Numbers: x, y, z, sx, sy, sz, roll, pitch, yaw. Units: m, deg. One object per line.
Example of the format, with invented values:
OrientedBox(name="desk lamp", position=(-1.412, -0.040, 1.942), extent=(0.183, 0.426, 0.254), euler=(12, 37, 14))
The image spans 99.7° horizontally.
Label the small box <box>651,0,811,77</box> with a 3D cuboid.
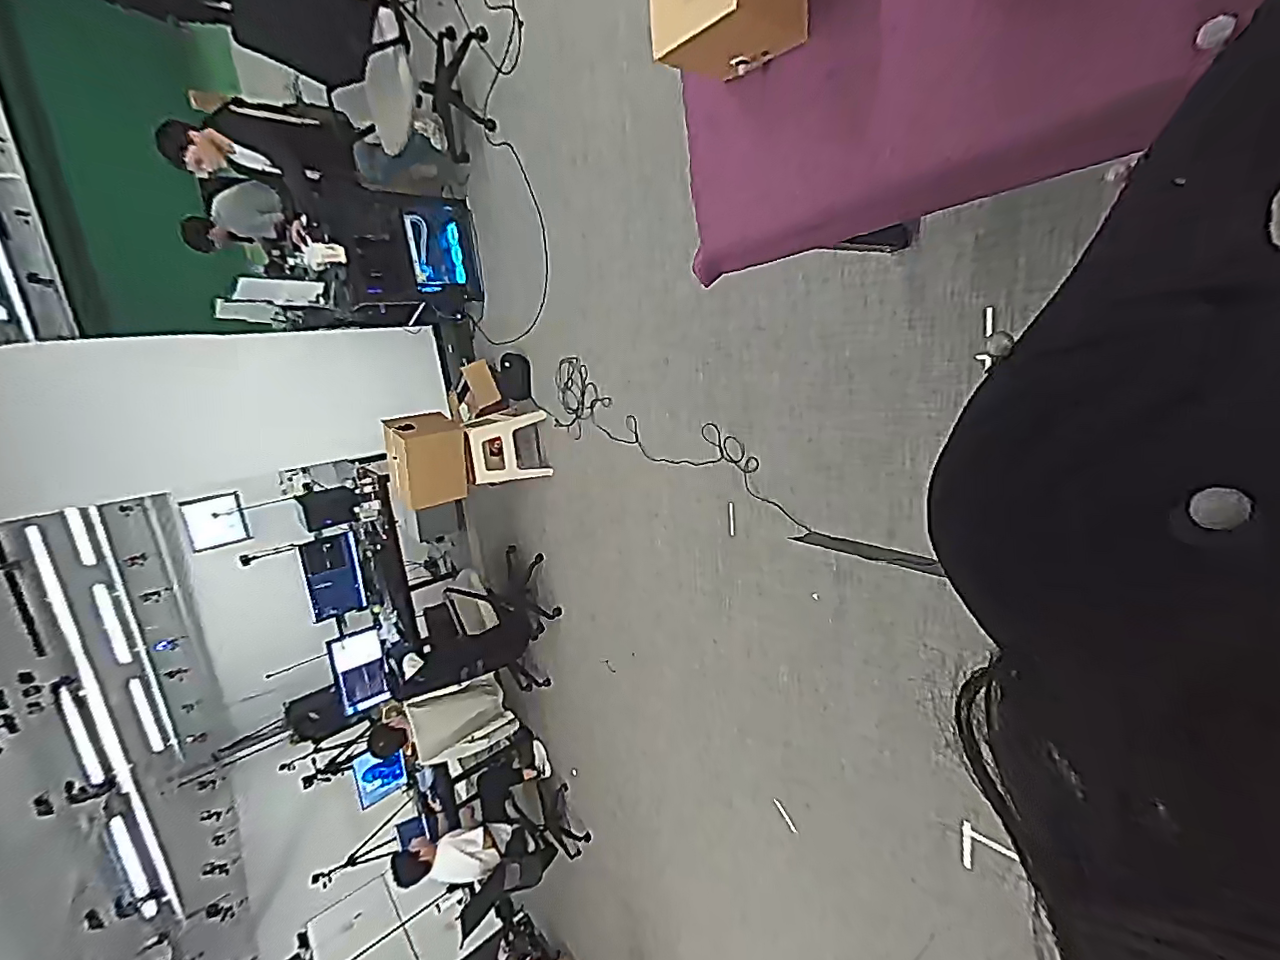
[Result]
OrientedBox(name="small box", position=(0.130, -0.727, 0.780), extent=(0.168, 0.176, 0.179), euler=(13, 114, 50))
